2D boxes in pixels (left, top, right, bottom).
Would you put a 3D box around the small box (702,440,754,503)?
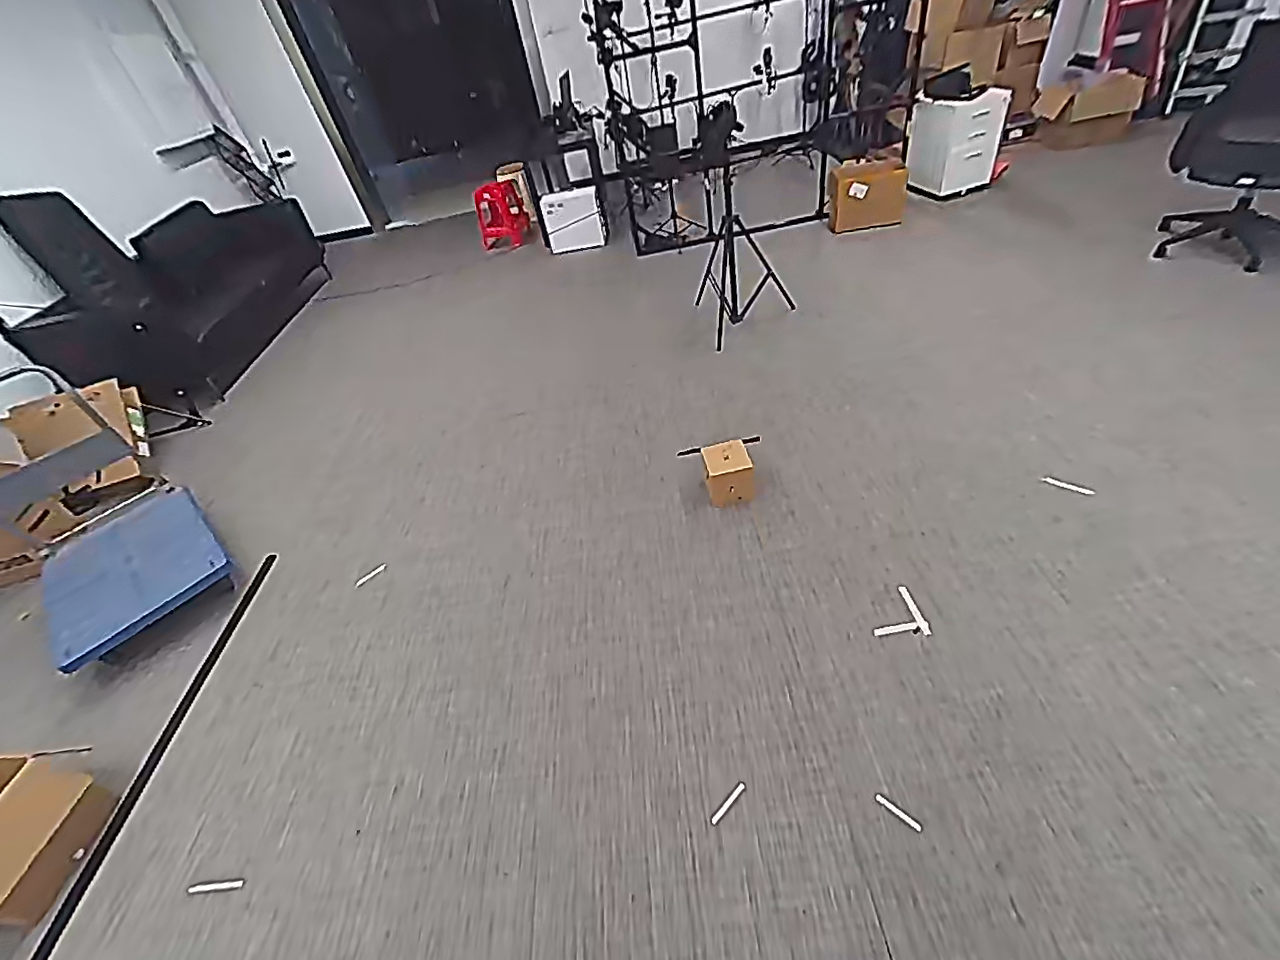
[{"bbox_3d":[0.345,-0.027,2.110,0.168,0.176,0.179,-12,41,1],"label":"small box"}]
